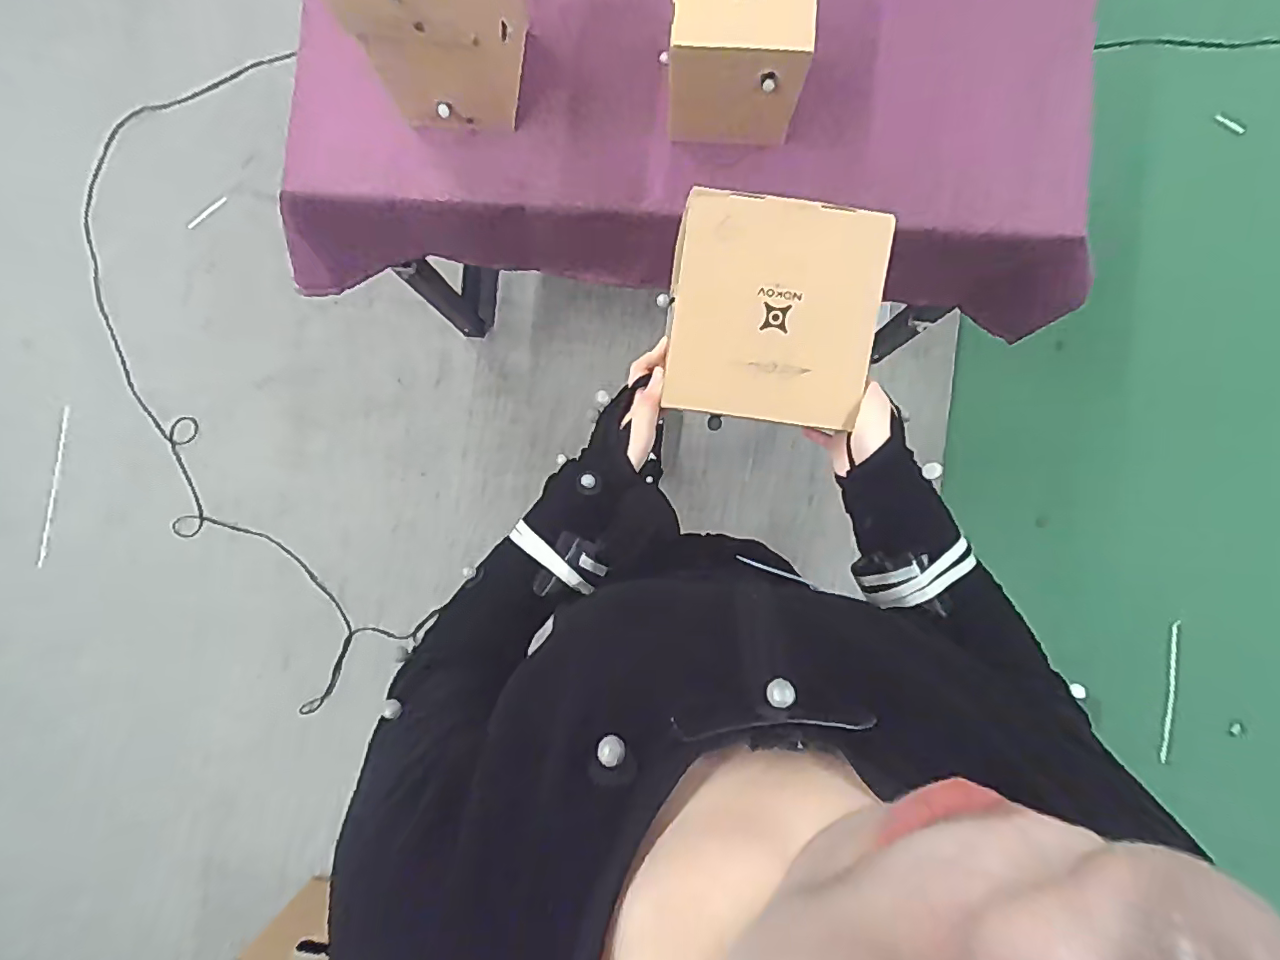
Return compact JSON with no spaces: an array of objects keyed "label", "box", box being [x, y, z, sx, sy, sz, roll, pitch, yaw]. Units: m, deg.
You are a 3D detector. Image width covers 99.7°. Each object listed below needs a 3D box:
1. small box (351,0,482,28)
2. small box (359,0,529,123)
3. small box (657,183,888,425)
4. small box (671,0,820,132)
[{"label":"small box","box":[-0.272,-0.652,0.596,0.168,0.176,0.179,7,87,2]},{"label":"small box","box":[-0.260,-0.649,0.760,0.168,0.176,0.179,6,88,3]},{"label":"small box","box":[0.108,-0.153,0.523,0.168,0.176,0.179,8,98,0]},{"label":"small box","box":[0.137,-0.612,0.740,0.179,0.176,0.168,4,86,3]}]
